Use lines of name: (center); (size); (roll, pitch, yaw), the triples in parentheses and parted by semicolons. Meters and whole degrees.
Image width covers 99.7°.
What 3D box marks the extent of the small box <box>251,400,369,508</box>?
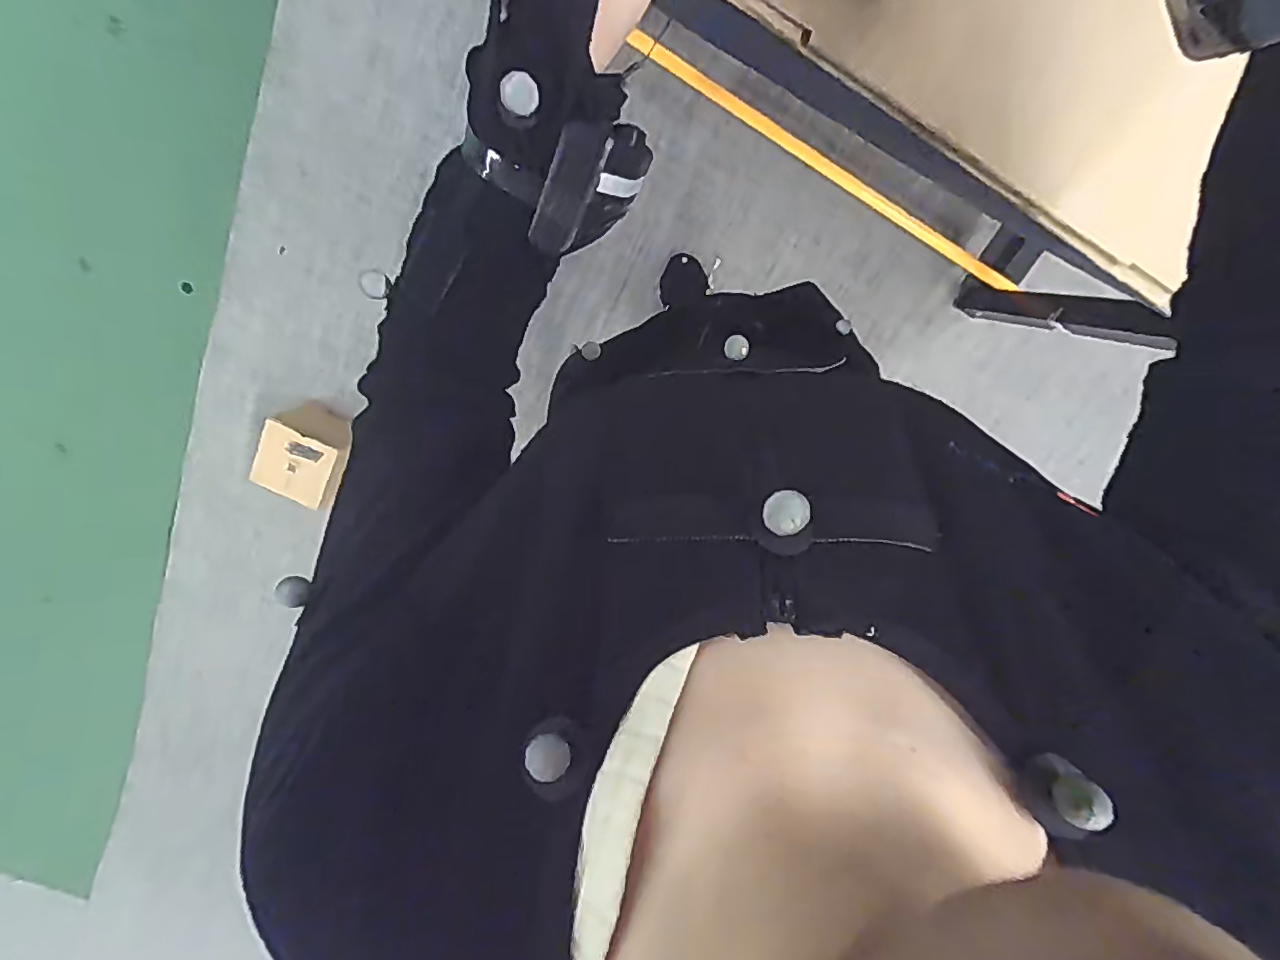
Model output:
small box: (-0.786, -0.070, 1.306); (0.168, 0.176, 0.179); (28, 111, -10)

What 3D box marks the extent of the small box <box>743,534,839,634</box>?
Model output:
small box: (0.391, 0.270, 1.441); (0.168, 0.176, 0.179); (21, 110, -8)
